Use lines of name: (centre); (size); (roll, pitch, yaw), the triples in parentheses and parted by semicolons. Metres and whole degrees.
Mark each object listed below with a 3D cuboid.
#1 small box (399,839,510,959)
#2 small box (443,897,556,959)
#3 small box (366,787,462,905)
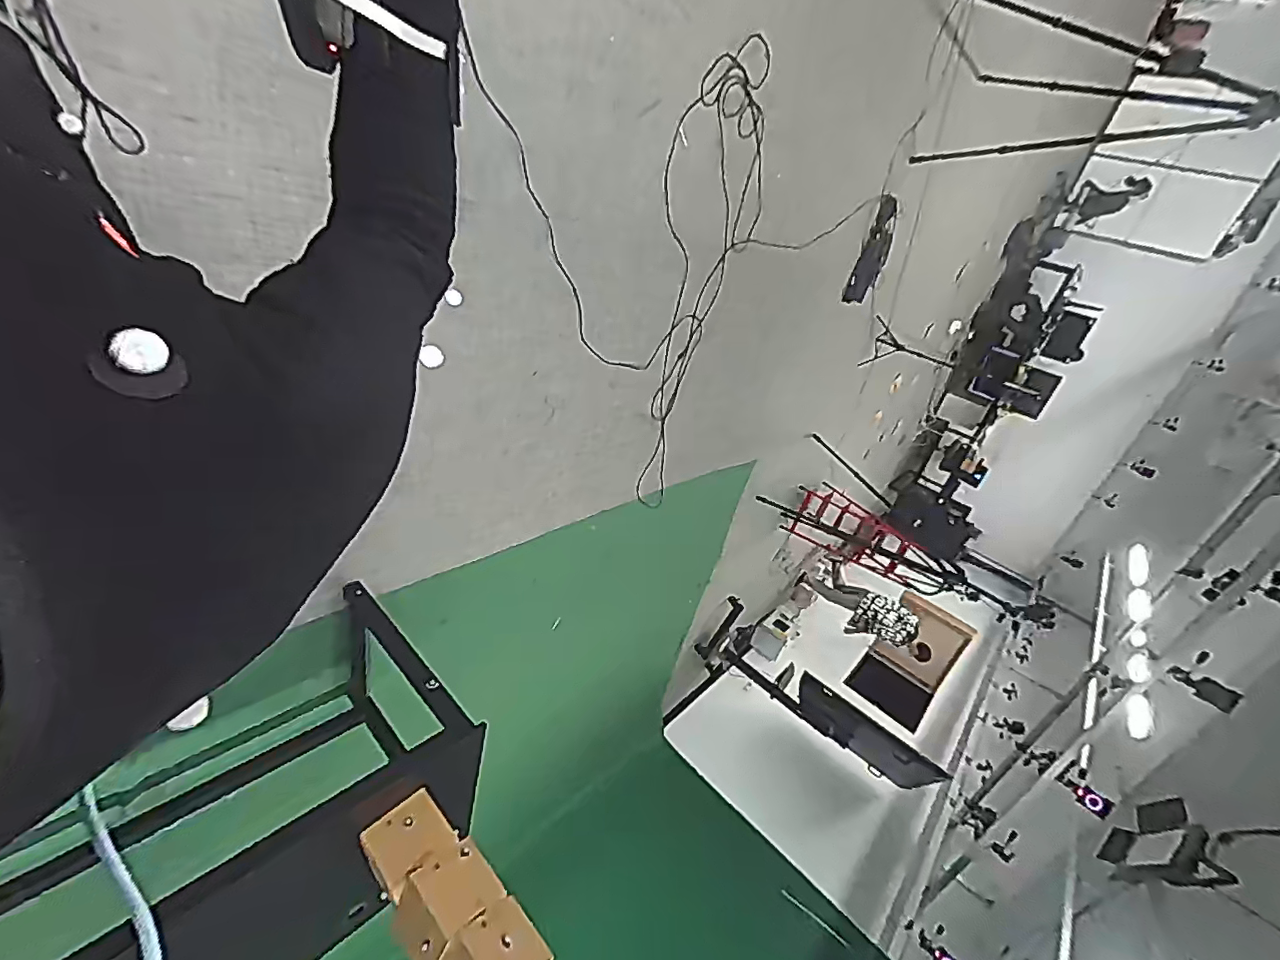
small box: (-0.446, 1.004, 1.288); (0.168, 0.176, 0.179); (-2, 120, -54)
small box: (-0.328, 1.087, 1.210); (0.168, 0.176, 0.179); (16, 104, -57)
small box: (-0.566, 0.926, 1.369); (0.168, 0.176, 0.179); (-26, 137, -40)
